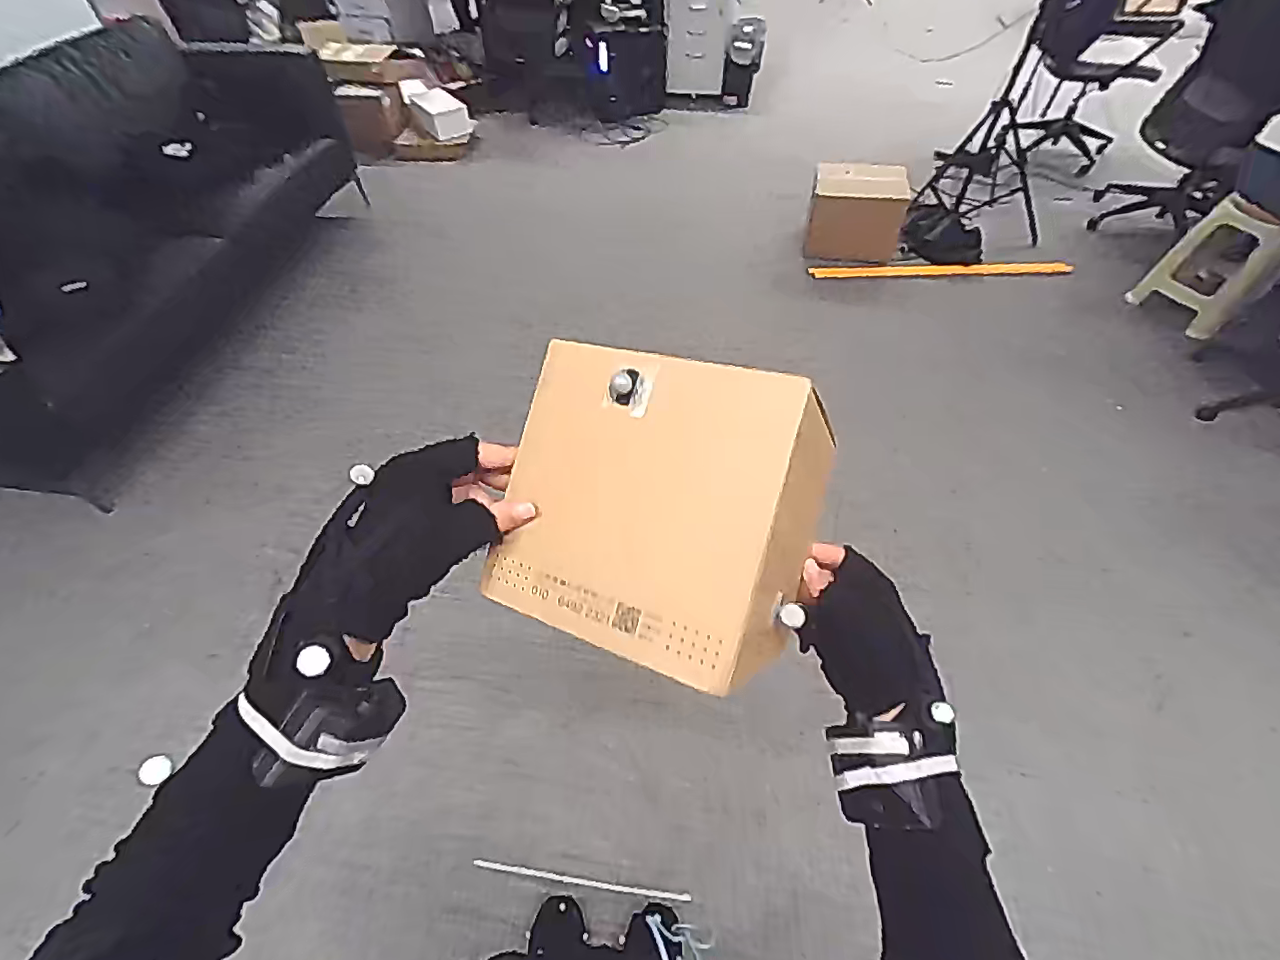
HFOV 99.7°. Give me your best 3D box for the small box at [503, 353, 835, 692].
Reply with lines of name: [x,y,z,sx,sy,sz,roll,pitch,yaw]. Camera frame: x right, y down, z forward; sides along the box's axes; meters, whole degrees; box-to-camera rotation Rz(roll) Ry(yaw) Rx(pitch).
small box: [0.029,0.029,0.389,0.168,0.179,0.176,15,87,25]
